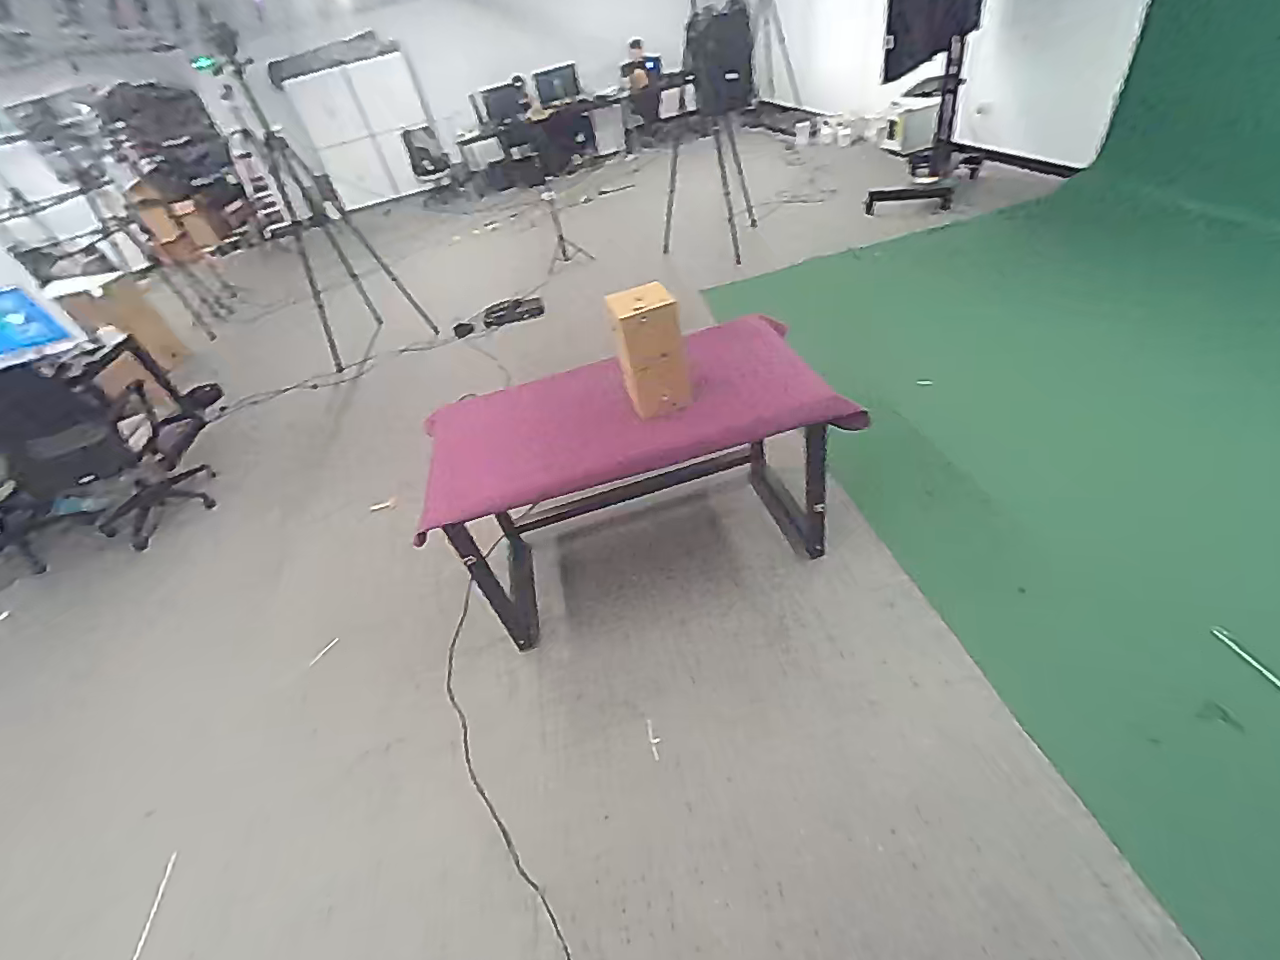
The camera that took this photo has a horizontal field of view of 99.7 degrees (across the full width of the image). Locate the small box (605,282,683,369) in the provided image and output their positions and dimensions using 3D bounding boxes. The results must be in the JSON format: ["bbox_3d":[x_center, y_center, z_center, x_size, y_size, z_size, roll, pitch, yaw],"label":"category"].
[{"bbox_3d":[0.013,-0.440,1.545,0.168,0.176,0.179,-19,40,-5],"label":"small box"}]

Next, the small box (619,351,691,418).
[{"bbox_3d":[0.045,-0.318,1.651,0.168,0.176,0.179,-19,41,-4],"label":"small box"}]
